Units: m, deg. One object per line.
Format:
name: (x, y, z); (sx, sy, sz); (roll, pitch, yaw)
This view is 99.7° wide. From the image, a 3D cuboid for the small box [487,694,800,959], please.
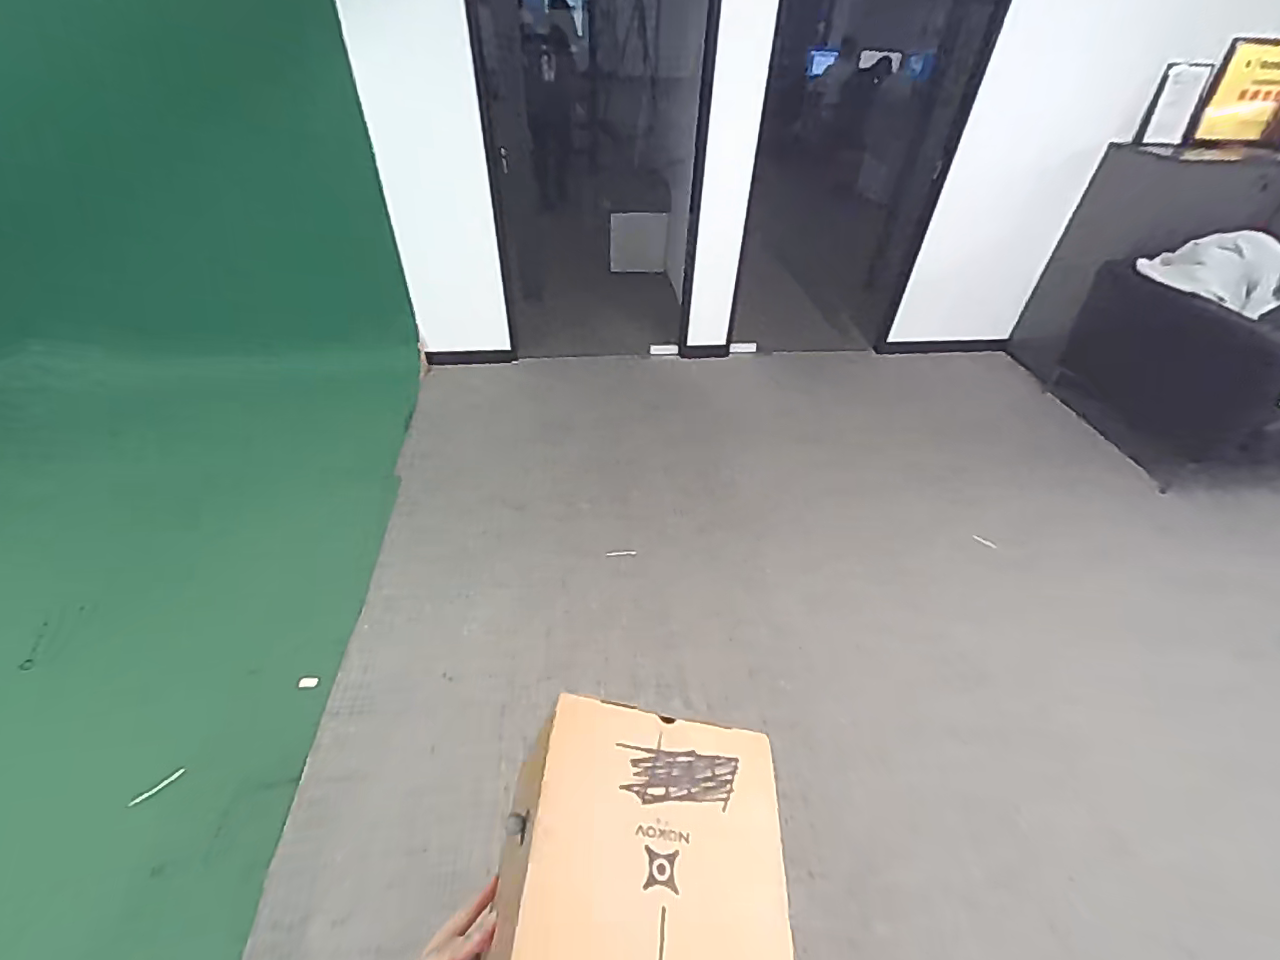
small box: (-0.006, 0.288, 0.389); (0.168, 0.176, 0.179); (17, 43, -10)
